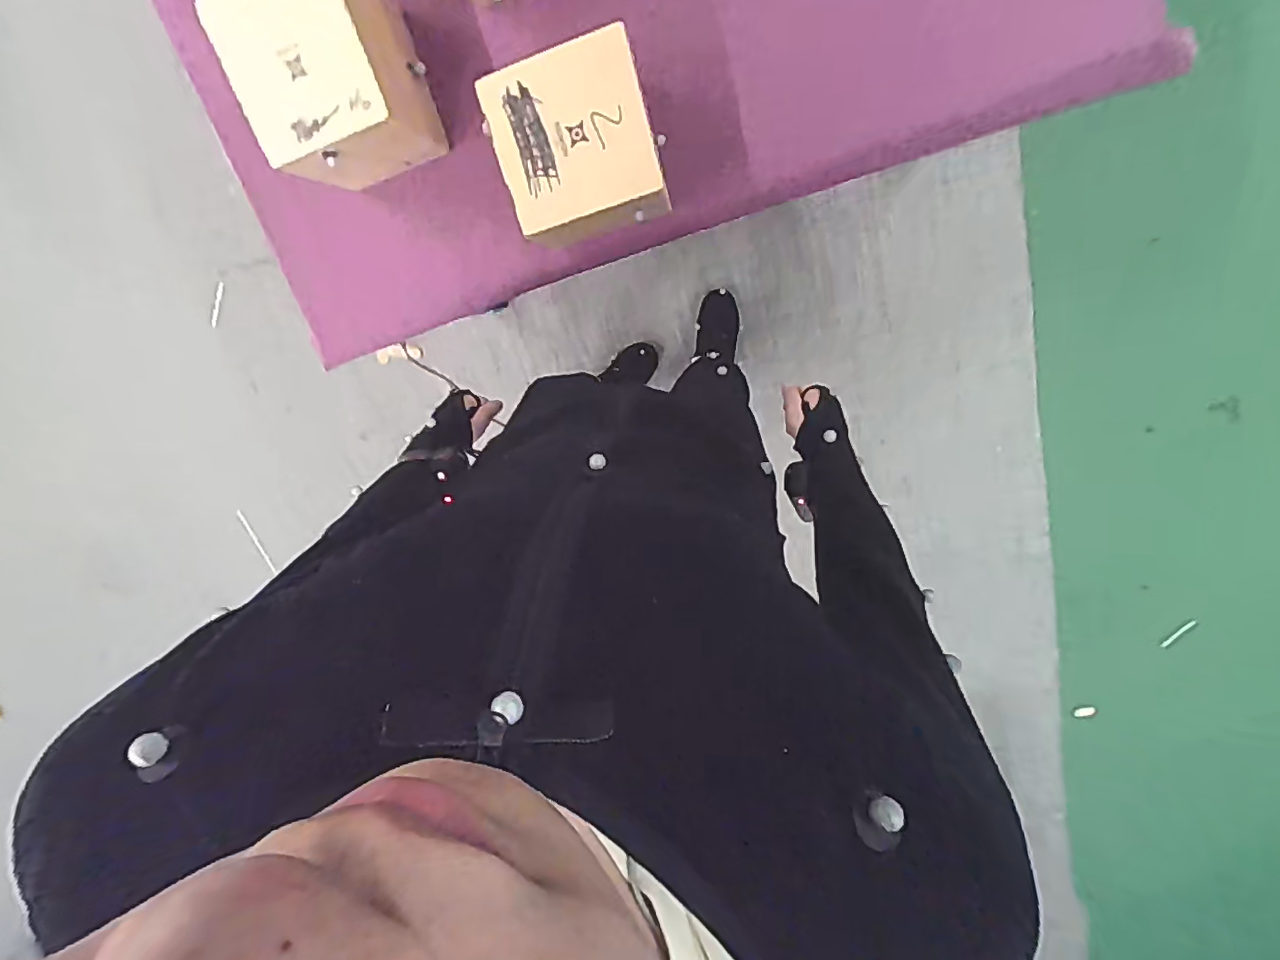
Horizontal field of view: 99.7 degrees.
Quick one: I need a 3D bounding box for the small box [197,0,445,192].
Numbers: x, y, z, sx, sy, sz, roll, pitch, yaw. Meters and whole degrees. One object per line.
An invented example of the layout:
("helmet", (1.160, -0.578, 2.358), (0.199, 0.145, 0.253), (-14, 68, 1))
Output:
("small box", (-0.378, -0.491, 0.677), (0.168, 0.176, 0.179), (-15, 107, 12))
